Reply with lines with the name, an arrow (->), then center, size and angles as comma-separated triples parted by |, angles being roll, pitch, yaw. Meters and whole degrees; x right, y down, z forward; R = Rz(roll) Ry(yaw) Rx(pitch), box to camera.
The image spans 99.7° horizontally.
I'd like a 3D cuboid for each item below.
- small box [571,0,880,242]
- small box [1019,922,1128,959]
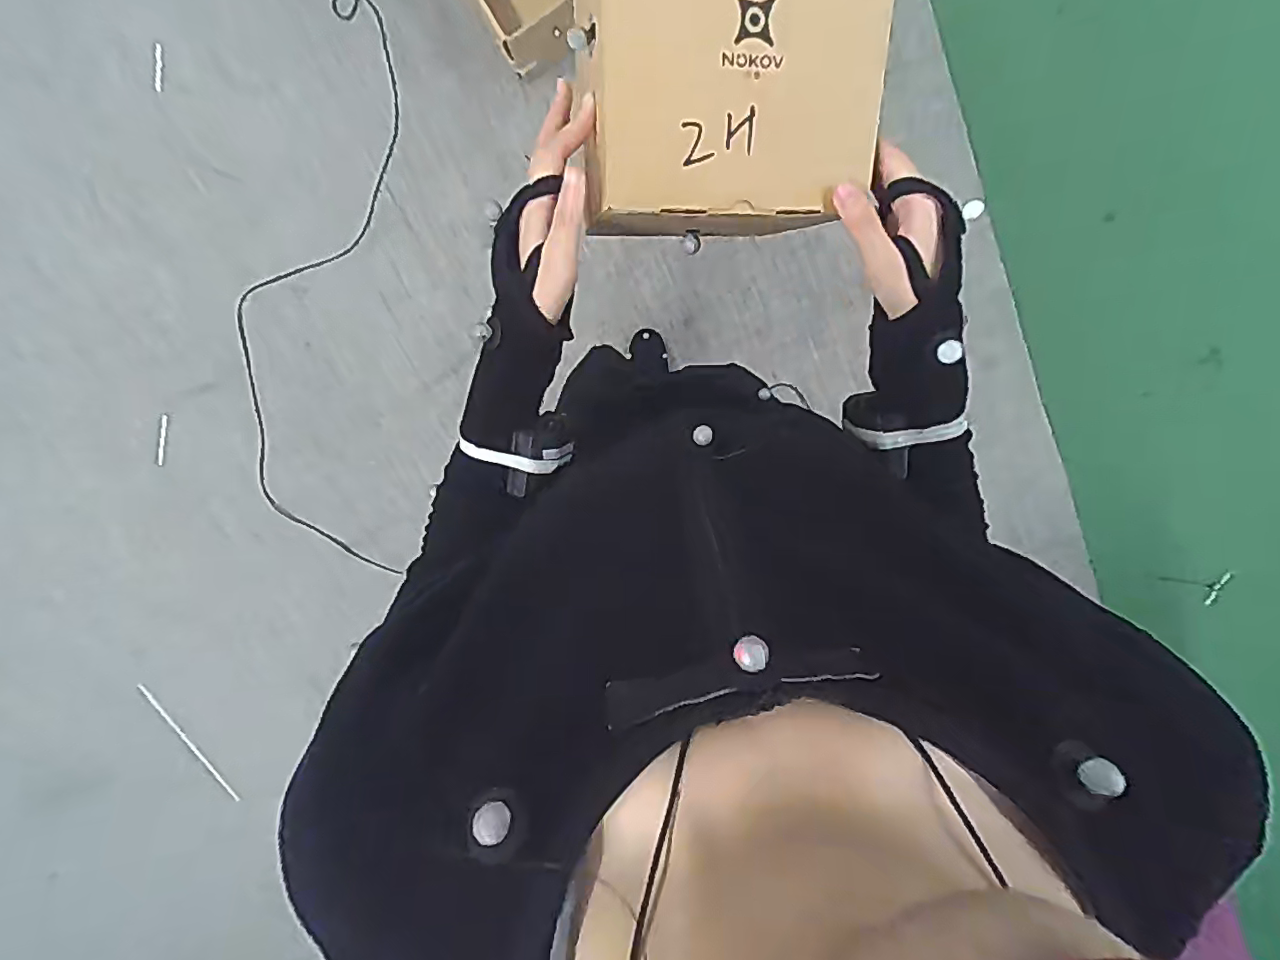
small box -> 0.041, -0.271, 0.378 | 0.168, 0.176, 0.179 | -4, 110, -10
small box -> 0.815, 0.948, 0.960 | 0.179, 0.176, 0.168 | -28, 104, 6
